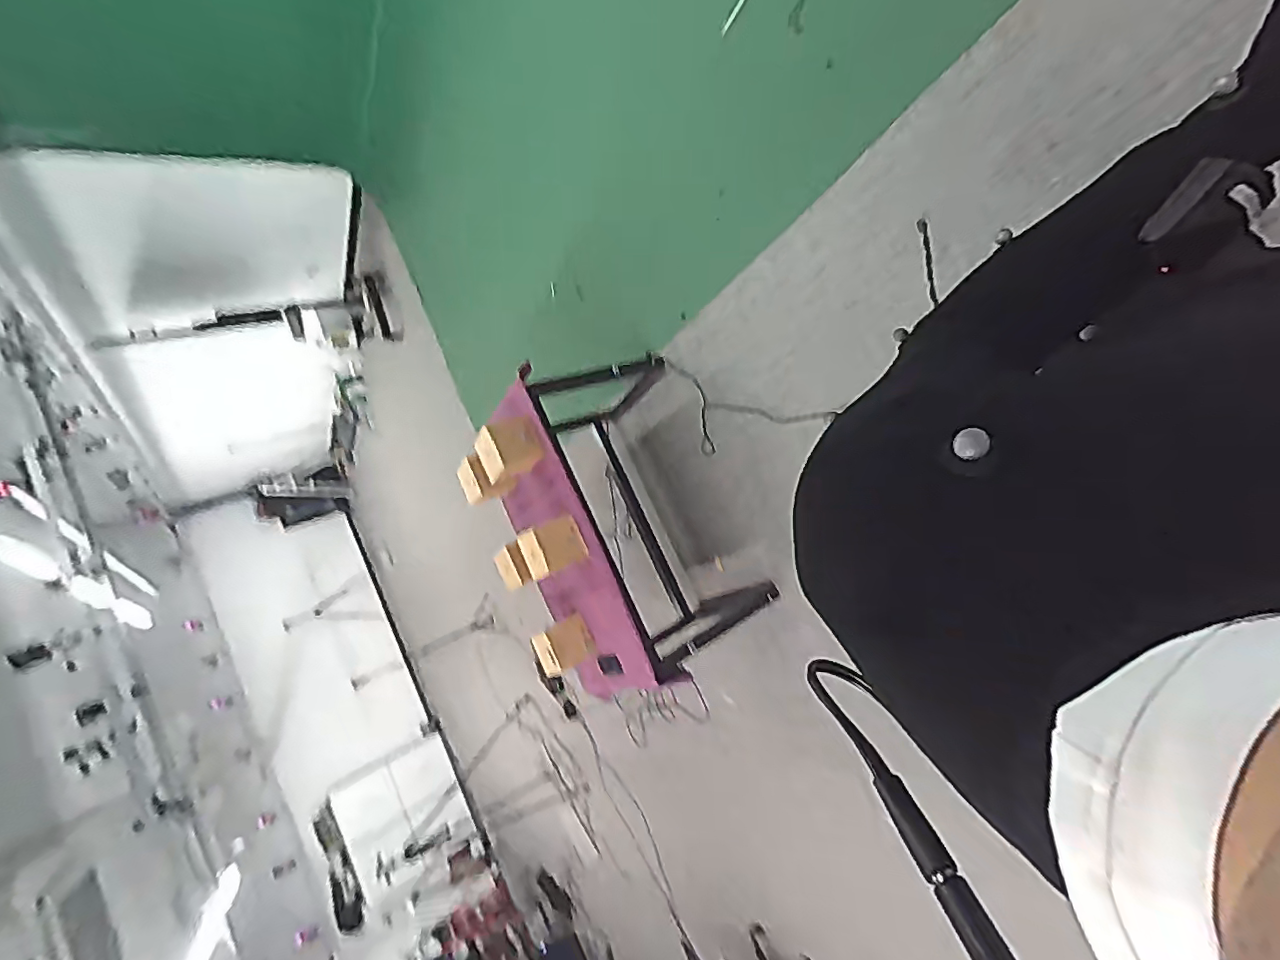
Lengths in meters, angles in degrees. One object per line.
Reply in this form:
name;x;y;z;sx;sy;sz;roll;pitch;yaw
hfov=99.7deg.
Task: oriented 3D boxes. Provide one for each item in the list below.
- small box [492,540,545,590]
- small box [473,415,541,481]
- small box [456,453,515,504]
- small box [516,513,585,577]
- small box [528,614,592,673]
small box;-0.479;0.330;2.213;0.179;0.176;0.168;-35;79;53
small box;-0.492;-0.120;2.005;0.179;0.176;0.168;-35;79;53
small box;-0.644;-0.020;2.256;0.179;0.176;0.168;-32;81;54
small box;-0.324;0.237;1.965;0.179;0.176;0.168;-32;81;54
small box;-0.313;0.649;2.146;0.179;0.176;0.168;-35;78;54
